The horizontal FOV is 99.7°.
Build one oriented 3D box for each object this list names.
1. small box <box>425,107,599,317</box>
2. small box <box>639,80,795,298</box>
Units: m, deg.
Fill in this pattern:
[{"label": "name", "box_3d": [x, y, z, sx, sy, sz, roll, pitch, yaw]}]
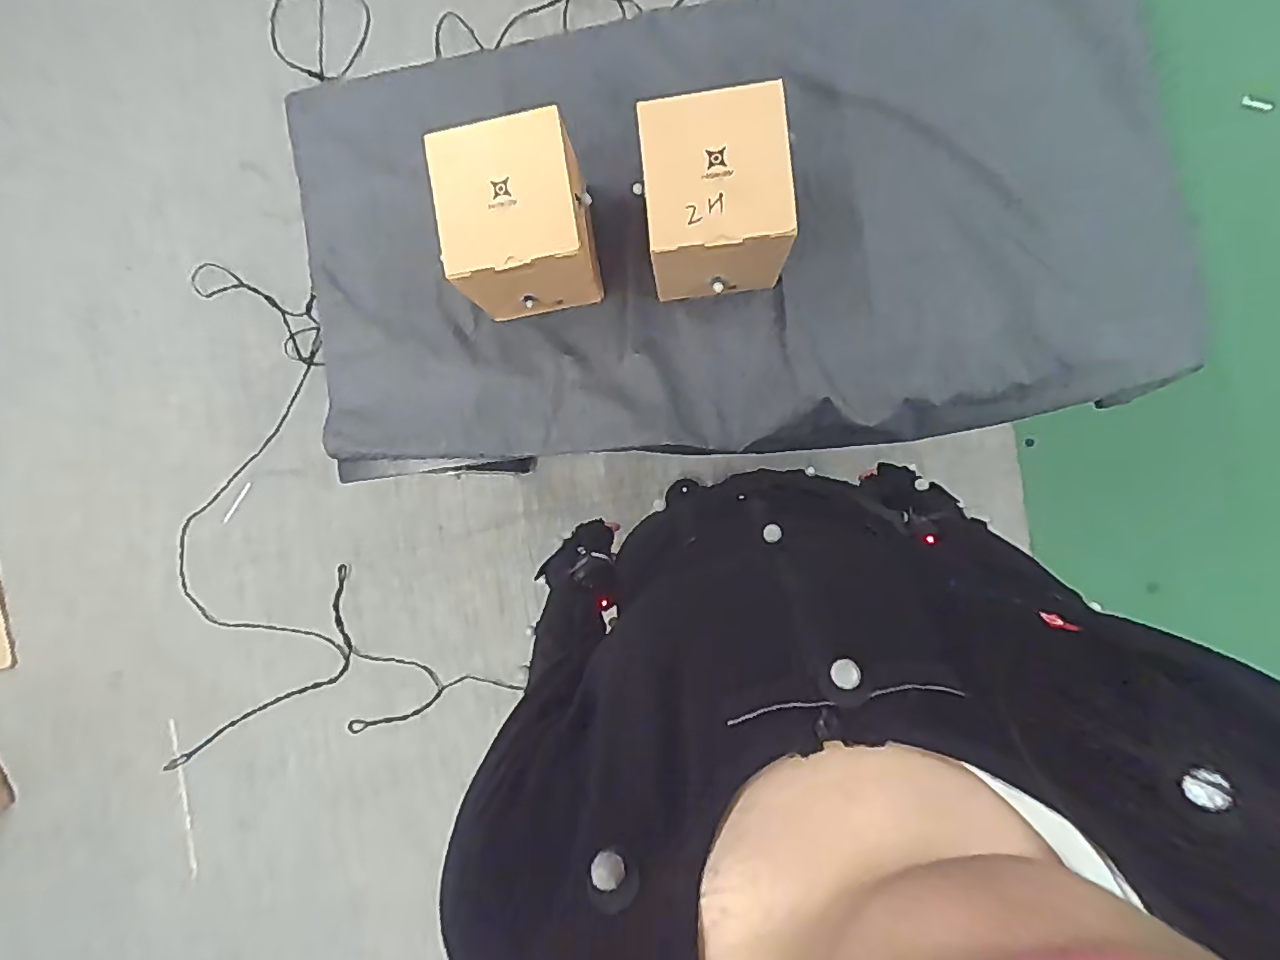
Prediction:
[{"label": "small box", "box_3d": [-0.155, -0.336, 0.710, 0.168, 0.176, 0.179, -9, 90, 5]}, {"label": "small box", "box_3d": [0.091, -0.351, 0.684, 0.168, 0.176, 0.179, -5, 90, 6]}]
